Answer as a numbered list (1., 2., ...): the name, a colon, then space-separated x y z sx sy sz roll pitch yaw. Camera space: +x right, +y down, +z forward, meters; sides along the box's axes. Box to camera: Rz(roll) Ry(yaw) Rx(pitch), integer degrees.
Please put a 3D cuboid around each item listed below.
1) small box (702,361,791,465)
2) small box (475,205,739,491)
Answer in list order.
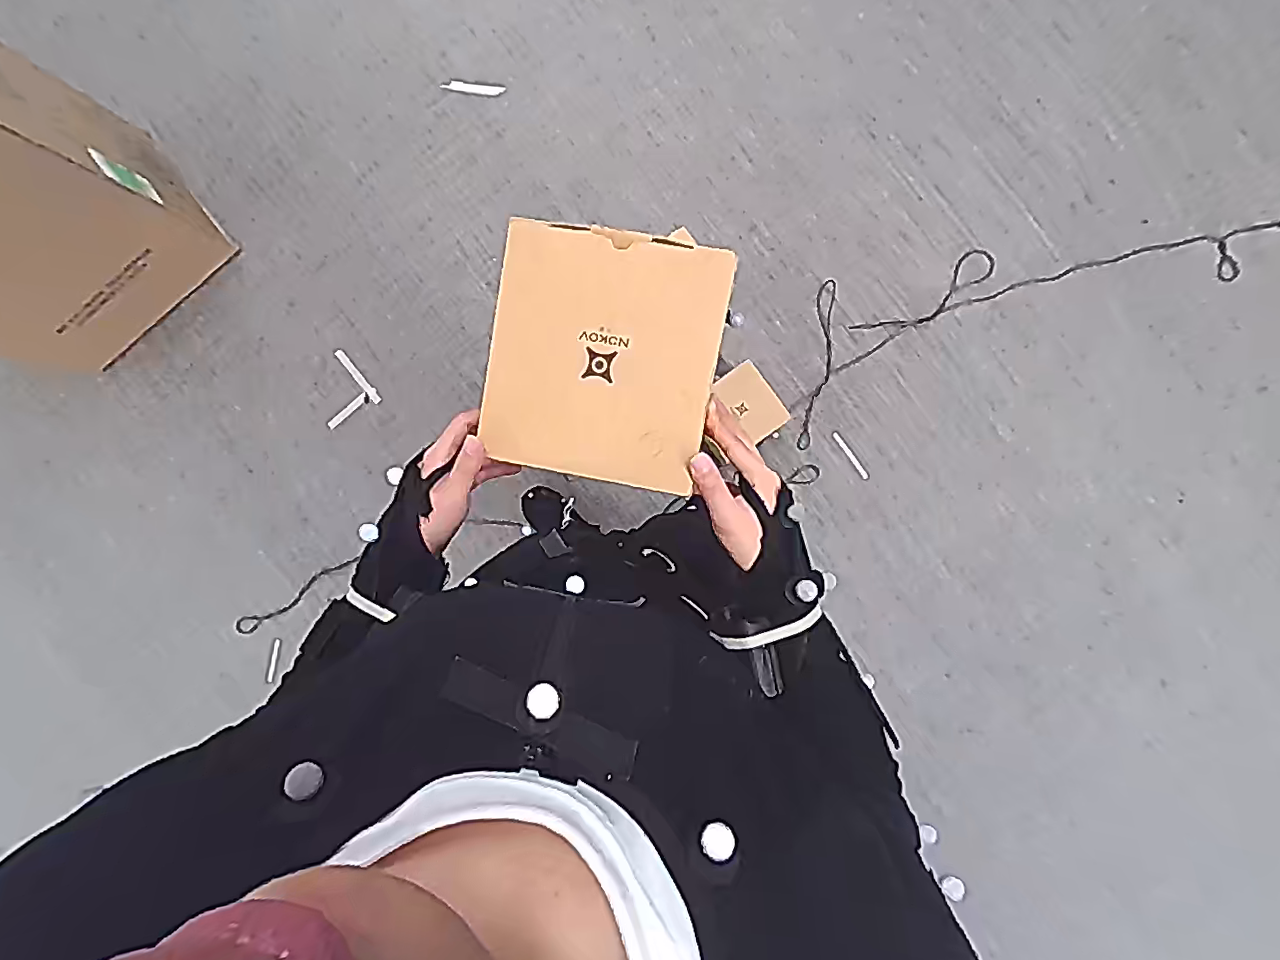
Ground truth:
1. small box: 0.221 -0.150 1.266 0.179 0.176 0.168 -35 88 4
2. small box: -0.019 -0.099 0.456 0.168 0.176 0.179 11 96 4
